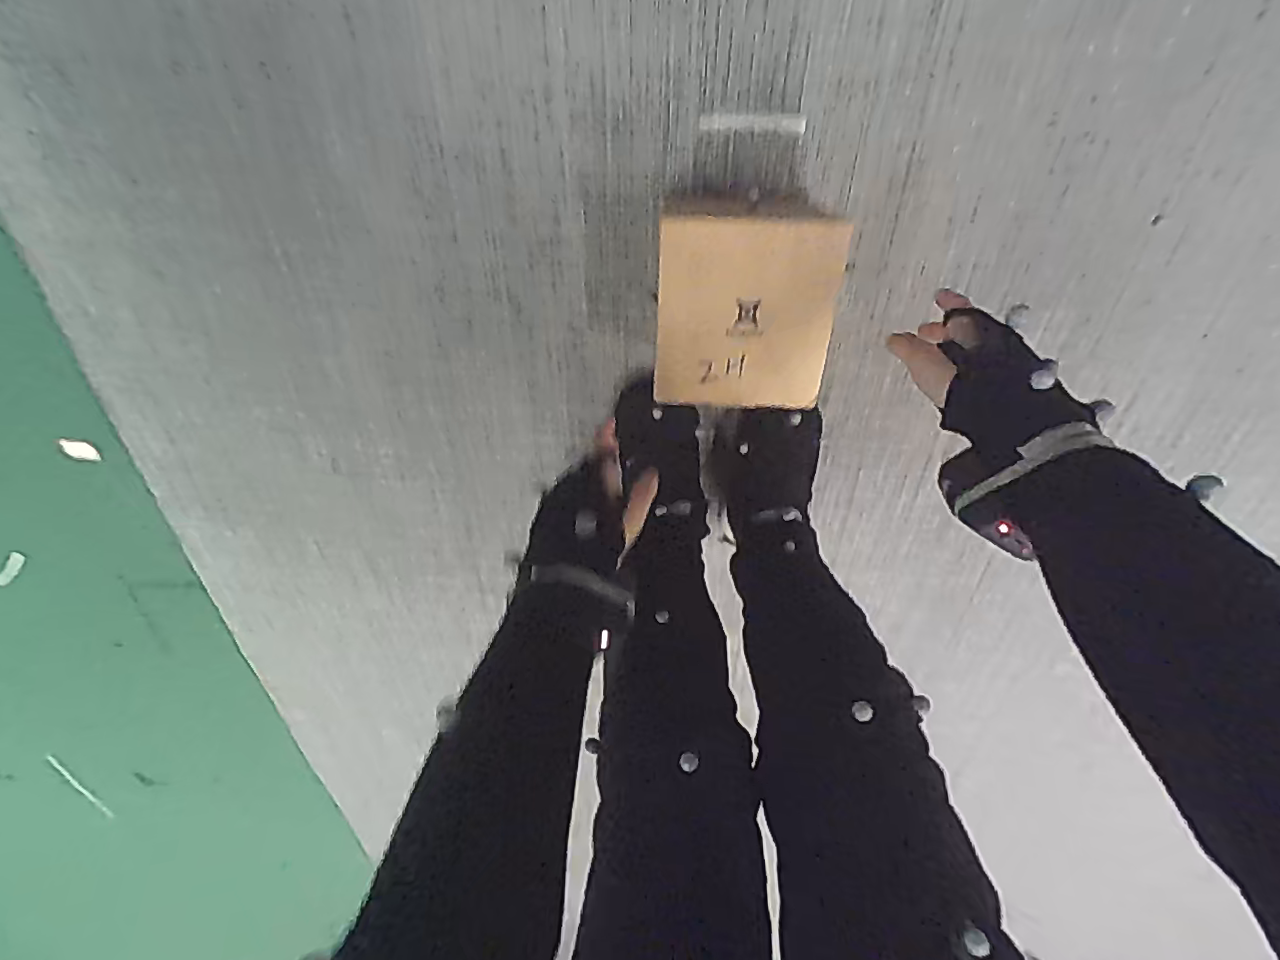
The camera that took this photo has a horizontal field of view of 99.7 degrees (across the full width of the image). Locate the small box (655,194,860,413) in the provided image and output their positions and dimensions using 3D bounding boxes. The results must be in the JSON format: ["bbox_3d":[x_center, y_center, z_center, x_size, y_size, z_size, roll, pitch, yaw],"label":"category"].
[{"bbox_3d":[0.102,-0.188,0.559,0.168,0.176,0.179,3,125,1],"label":"small box"}]
